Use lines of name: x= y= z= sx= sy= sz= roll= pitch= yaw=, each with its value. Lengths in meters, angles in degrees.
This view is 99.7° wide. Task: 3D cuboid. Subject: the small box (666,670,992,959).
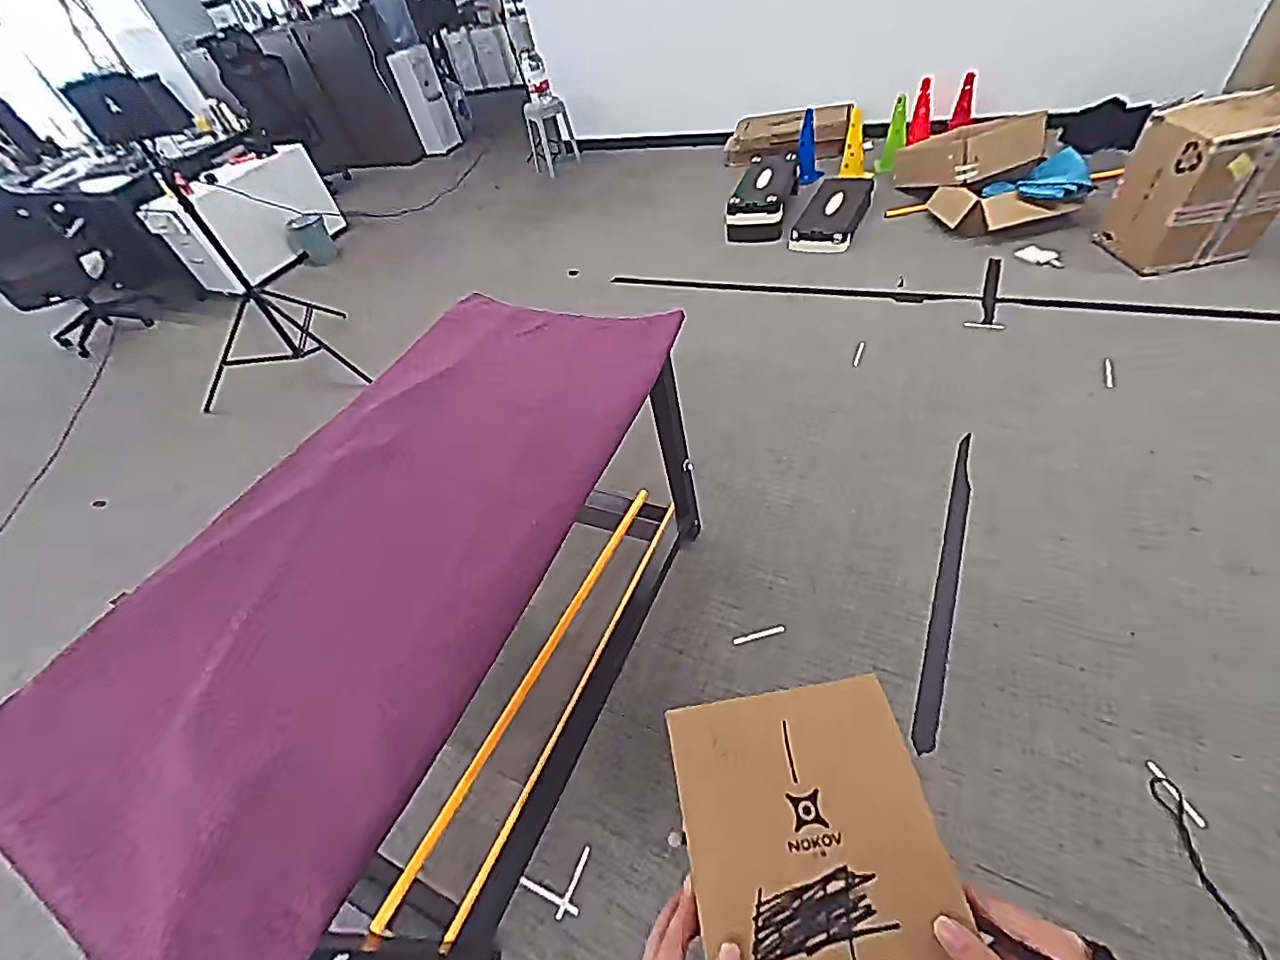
small box: x=0.118 y=0.269 z=0.419 sx=0.168 sy=0.176 sz=0.179 roll=-9 pitch=54 yaw=-1
